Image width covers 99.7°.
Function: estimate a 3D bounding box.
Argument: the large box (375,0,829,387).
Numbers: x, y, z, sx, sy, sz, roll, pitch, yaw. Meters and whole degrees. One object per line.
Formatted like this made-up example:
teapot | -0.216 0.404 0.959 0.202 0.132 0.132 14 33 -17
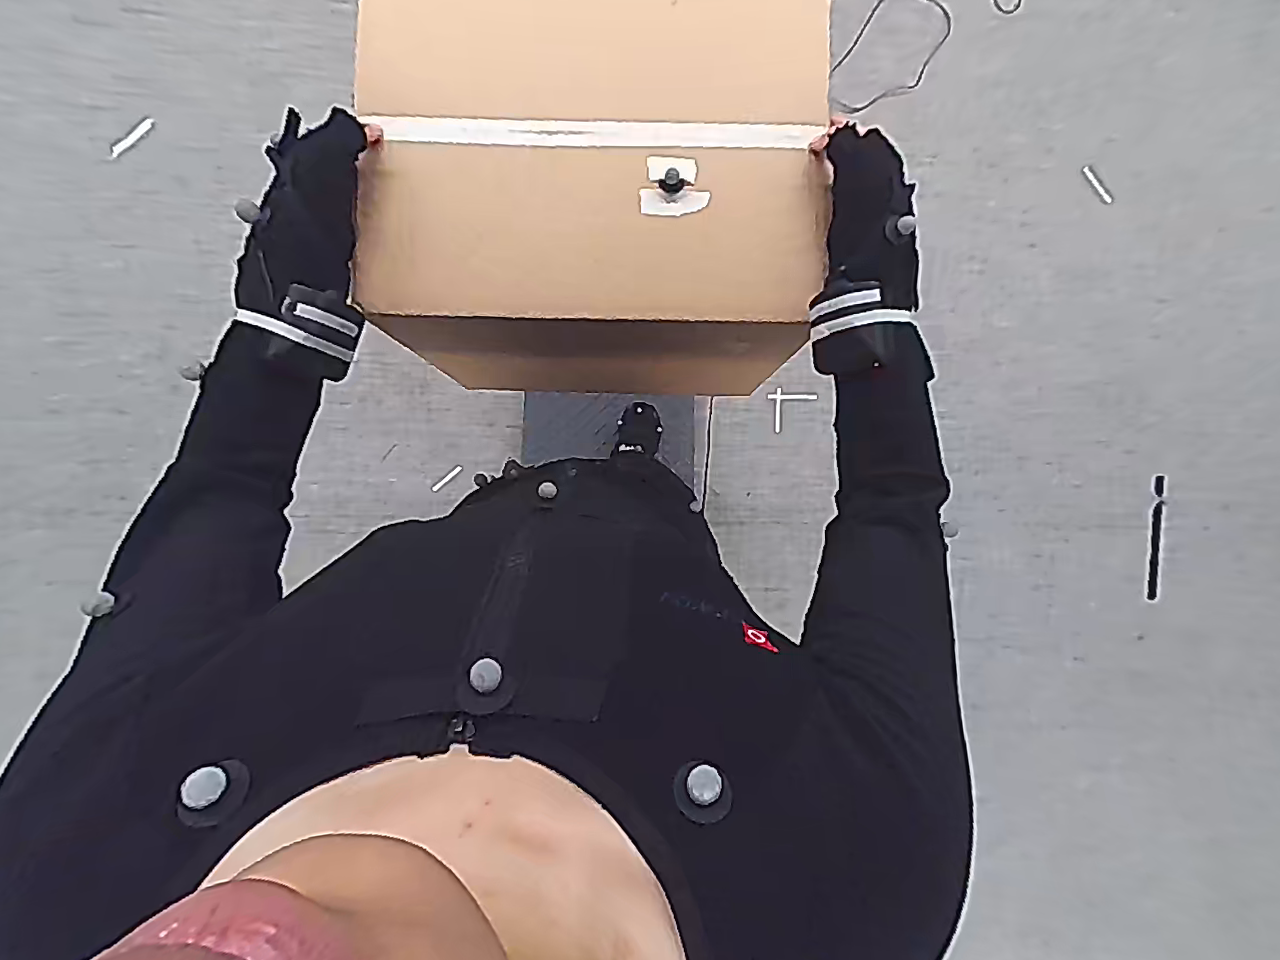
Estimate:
large box | -0.036 -0.294 0.626 0.408 0.320 0.320 1 88 -1
